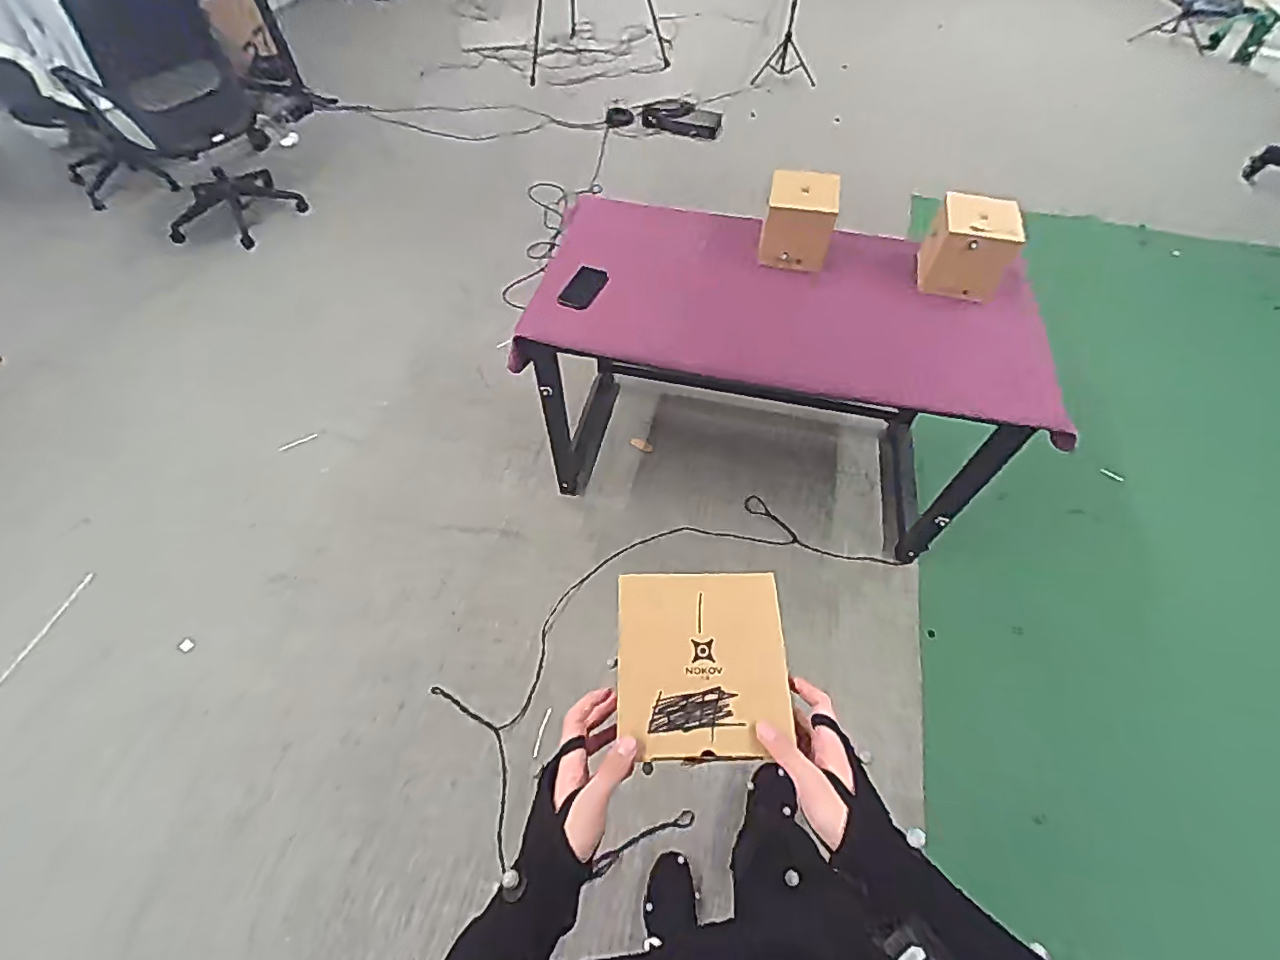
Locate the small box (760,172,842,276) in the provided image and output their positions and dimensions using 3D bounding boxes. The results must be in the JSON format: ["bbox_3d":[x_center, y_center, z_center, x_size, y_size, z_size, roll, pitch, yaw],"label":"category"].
[{"bbox_3d":[0.412,-0.659,1.393,0.168,0.176,0.179,11,57,8],"label":"small box"}]

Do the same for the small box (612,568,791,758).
[{"bbox_3d":[0.056,0.205,0.594,0.168,0.176,0.179,0,62,-1],"label":"small box"}]

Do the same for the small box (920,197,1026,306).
[{"bbox_3d":[0.806,-0.561,1.328,0.168,0.176,0.179,13,56,10],"label":"small box"}]
